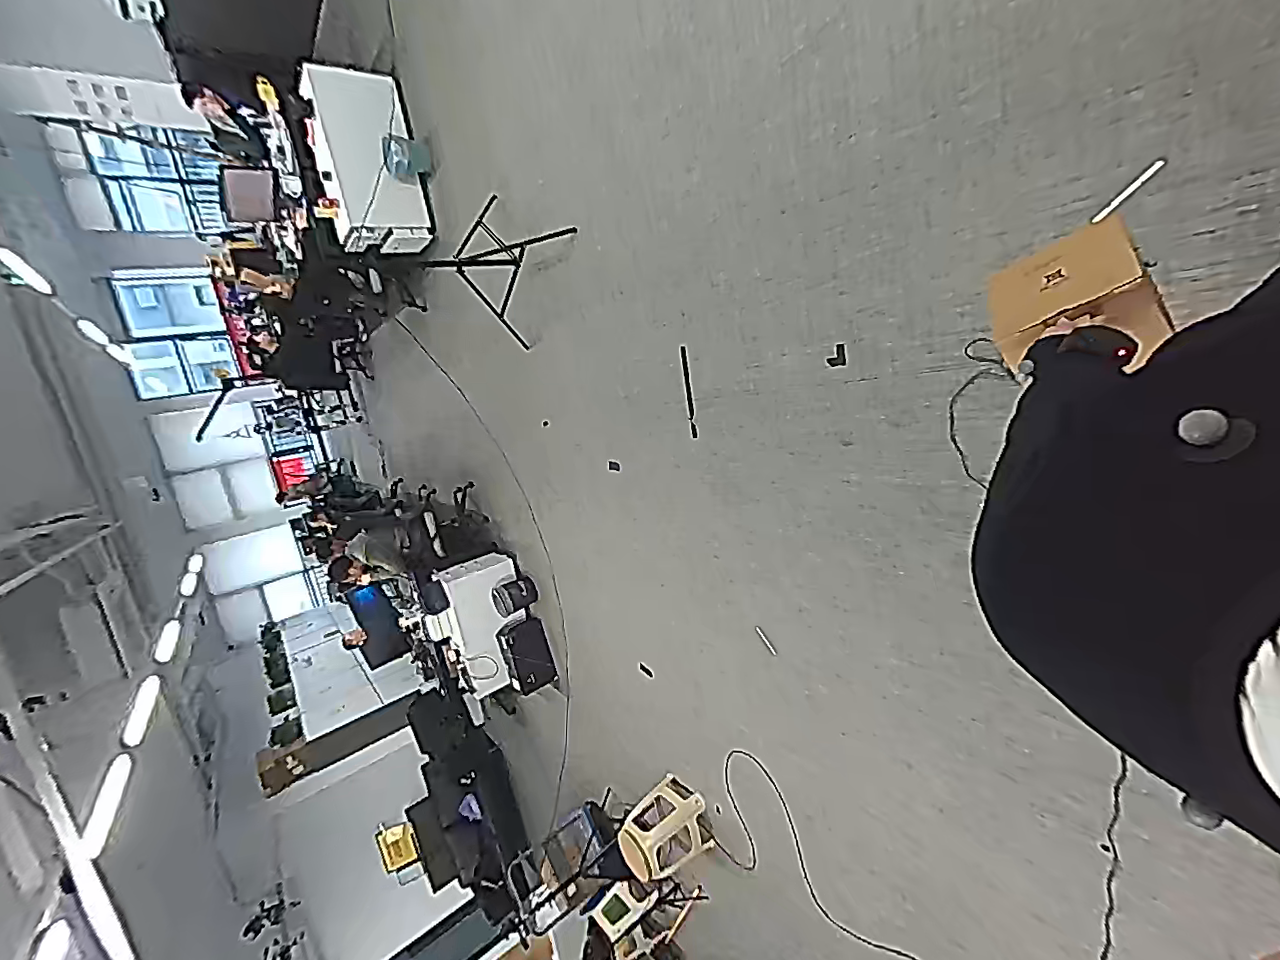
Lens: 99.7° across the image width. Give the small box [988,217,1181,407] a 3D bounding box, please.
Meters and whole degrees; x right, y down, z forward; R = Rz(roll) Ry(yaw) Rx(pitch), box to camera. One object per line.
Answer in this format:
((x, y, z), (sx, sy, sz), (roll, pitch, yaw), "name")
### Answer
((0.634, -0.229, 0.782), (0.176, 0.179, 0.168), (42, 141, -21), "small box")
